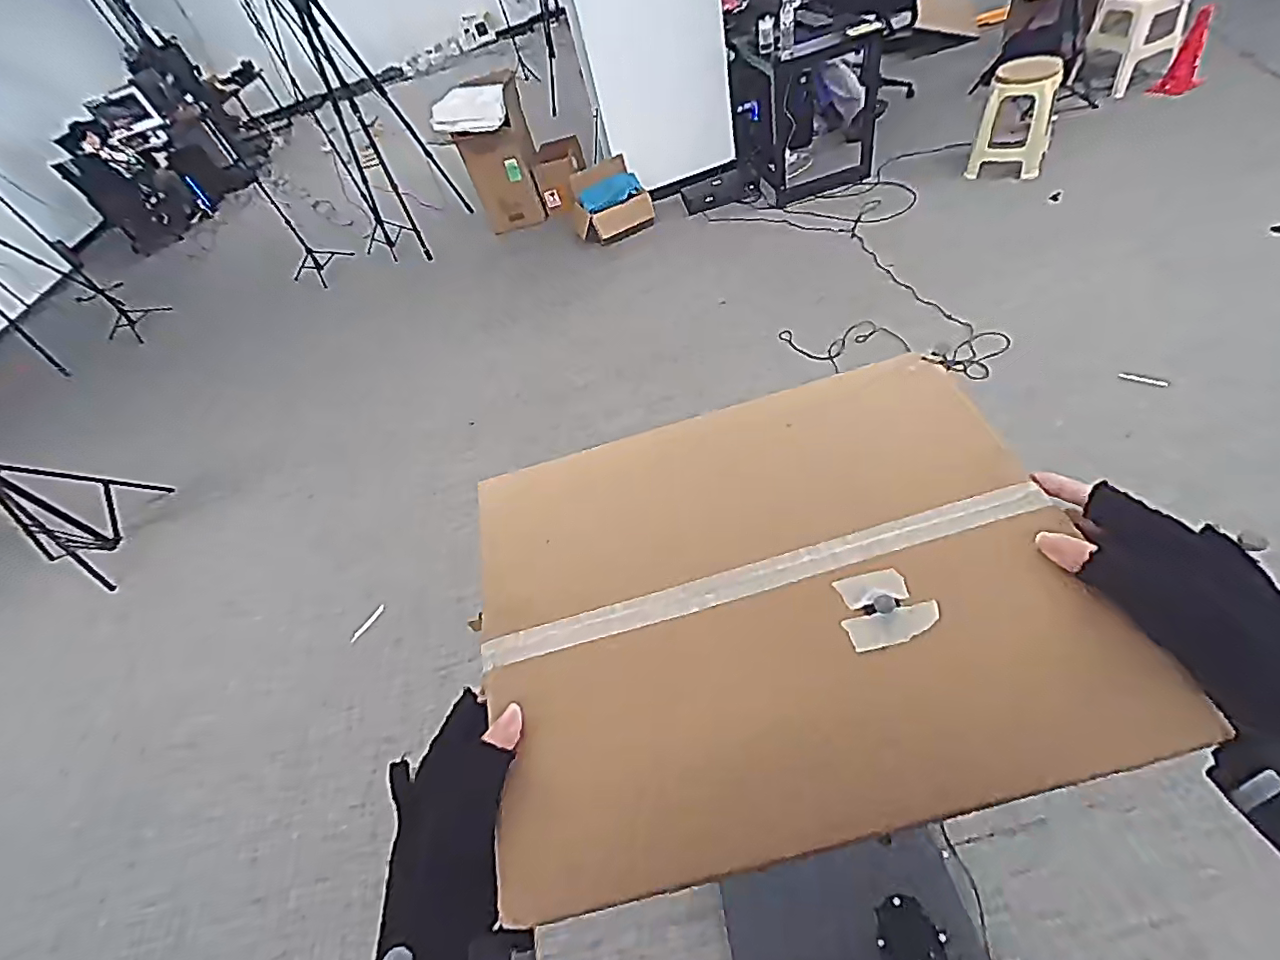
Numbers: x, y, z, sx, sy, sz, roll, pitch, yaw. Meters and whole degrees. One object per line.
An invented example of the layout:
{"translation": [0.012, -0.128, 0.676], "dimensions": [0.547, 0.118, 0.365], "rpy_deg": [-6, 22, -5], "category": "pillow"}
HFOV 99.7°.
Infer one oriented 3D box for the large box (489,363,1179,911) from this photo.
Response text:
{"translation": [0.113, 0.155, 0.517], "dimensions": [0.408, 0.320, 0.320], "rpy_deg": [-17, 56, 2], "category": "large box"}
